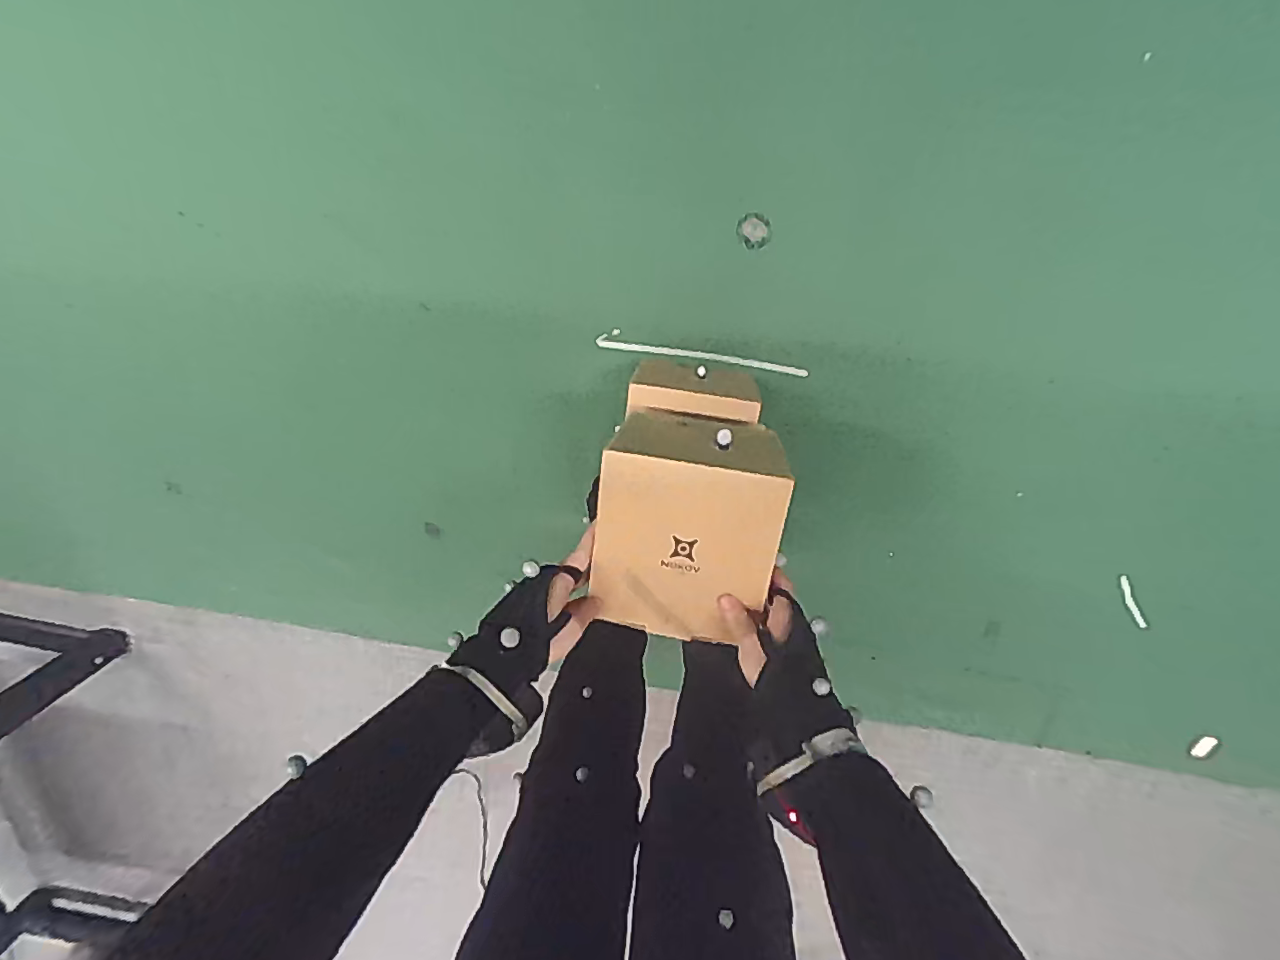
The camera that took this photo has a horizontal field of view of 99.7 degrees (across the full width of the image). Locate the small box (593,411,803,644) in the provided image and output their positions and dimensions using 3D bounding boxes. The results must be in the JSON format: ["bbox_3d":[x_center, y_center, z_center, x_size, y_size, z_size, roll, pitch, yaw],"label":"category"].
[{"bbox_3d":[0.055,0.036,0.560,0.168,0.176,0.179,10,111,4],"label":"small box"}]

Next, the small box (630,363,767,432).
[{"bbox_3d":[0.069,-0.059,0.764,0.168,0.176,0.179,10,113,2],"label":"small box"}]
